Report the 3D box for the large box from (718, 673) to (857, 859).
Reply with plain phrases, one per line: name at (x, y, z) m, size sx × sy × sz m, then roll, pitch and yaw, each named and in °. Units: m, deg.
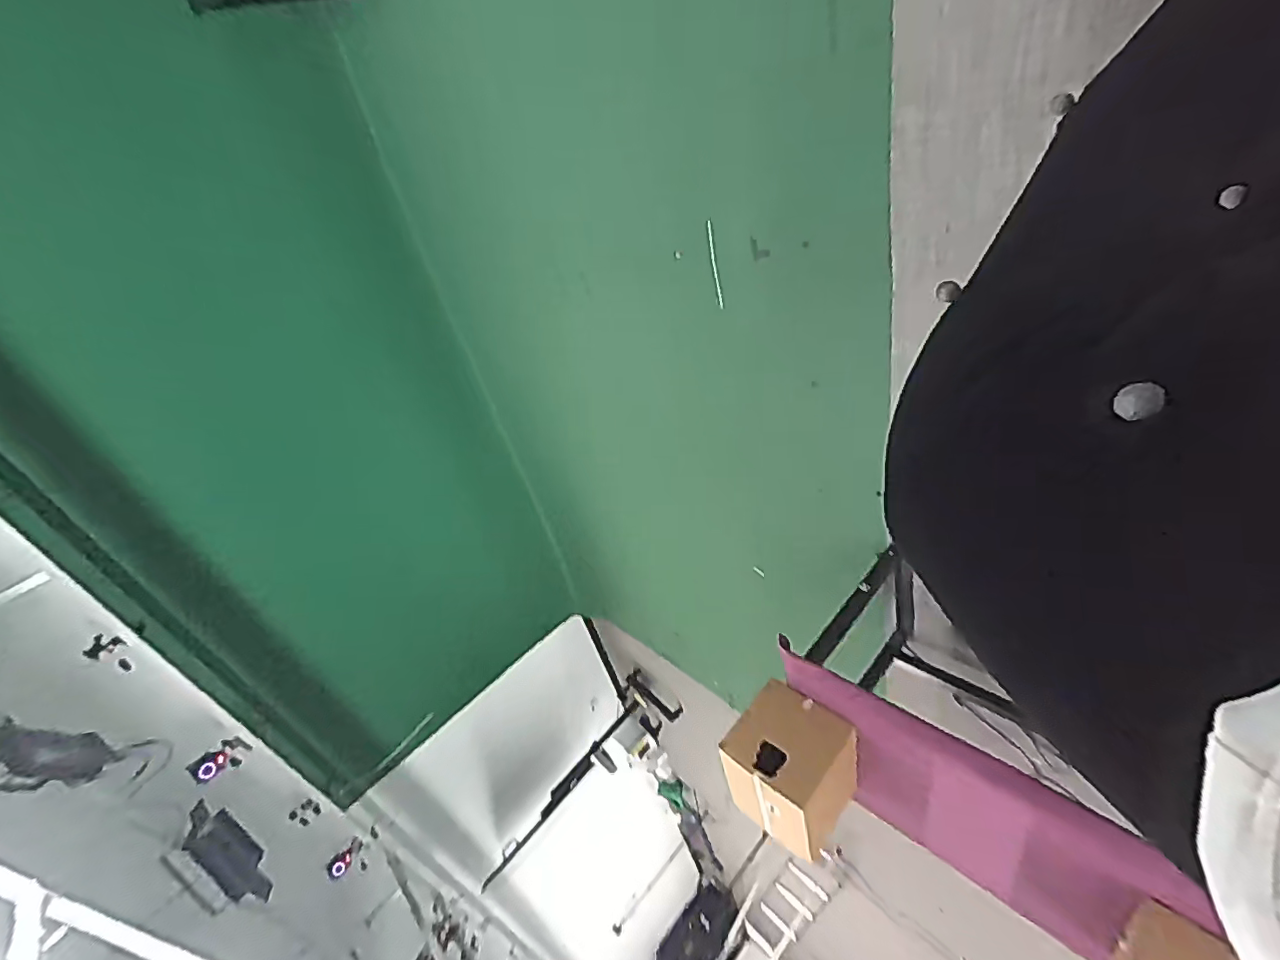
large box at (0.501, 0.938, 1.796) m, size 0.320 × 0.320 × 0.408 m, roll 20°, pitch 137°, yaw 41°
